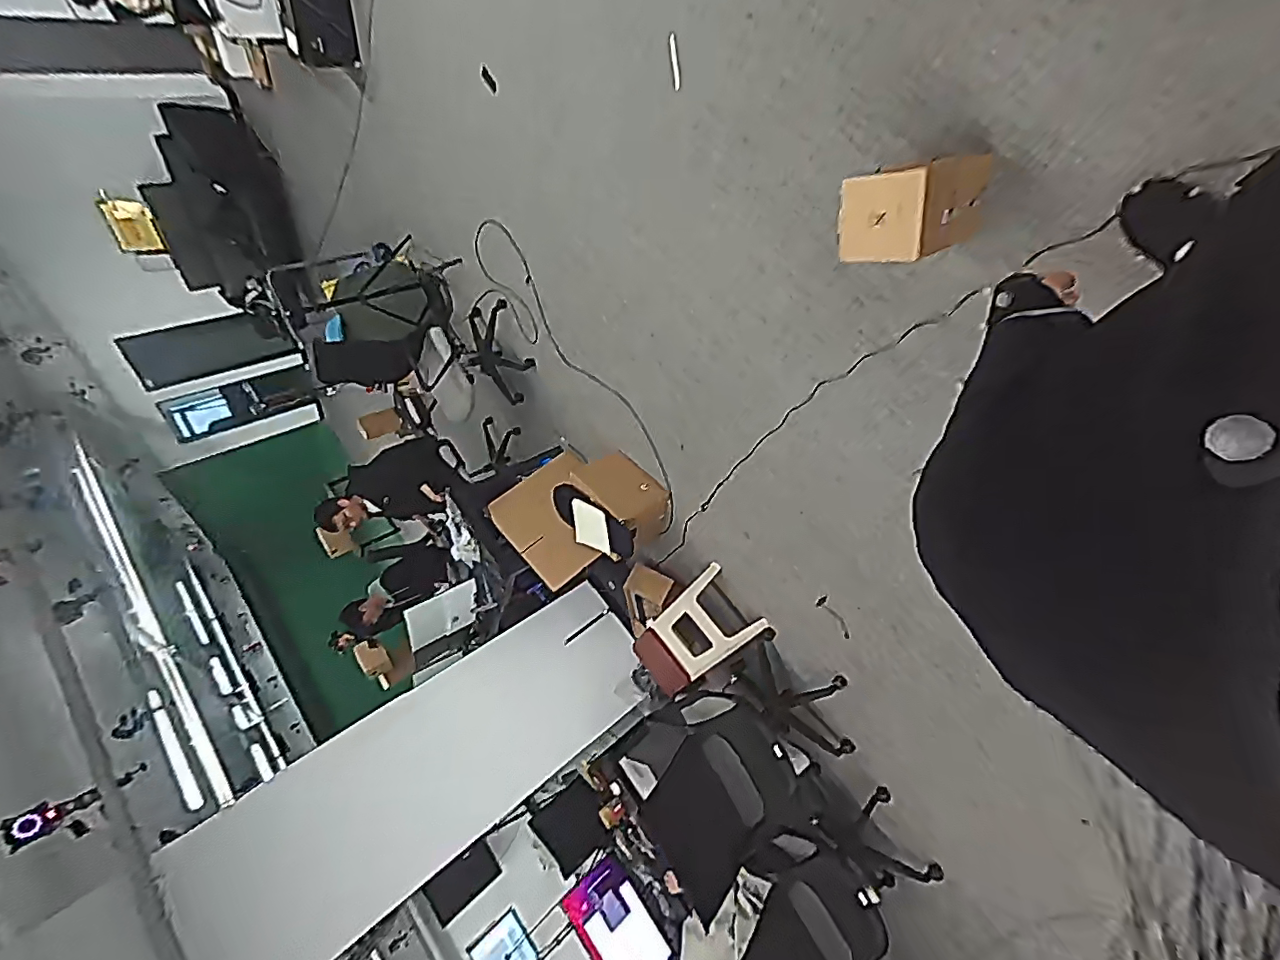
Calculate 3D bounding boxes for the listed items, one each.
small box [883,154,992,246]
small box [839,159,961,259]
[{"bbox_3d":[0.667,-0.642,1.236,0.179,0.176,0.168,28,134,42],"label":"small box"},{"bbox_3d":[0.548,-0.573,1.150,0.179,0.176,0.168,21,131,44],"label":"small box"}]
